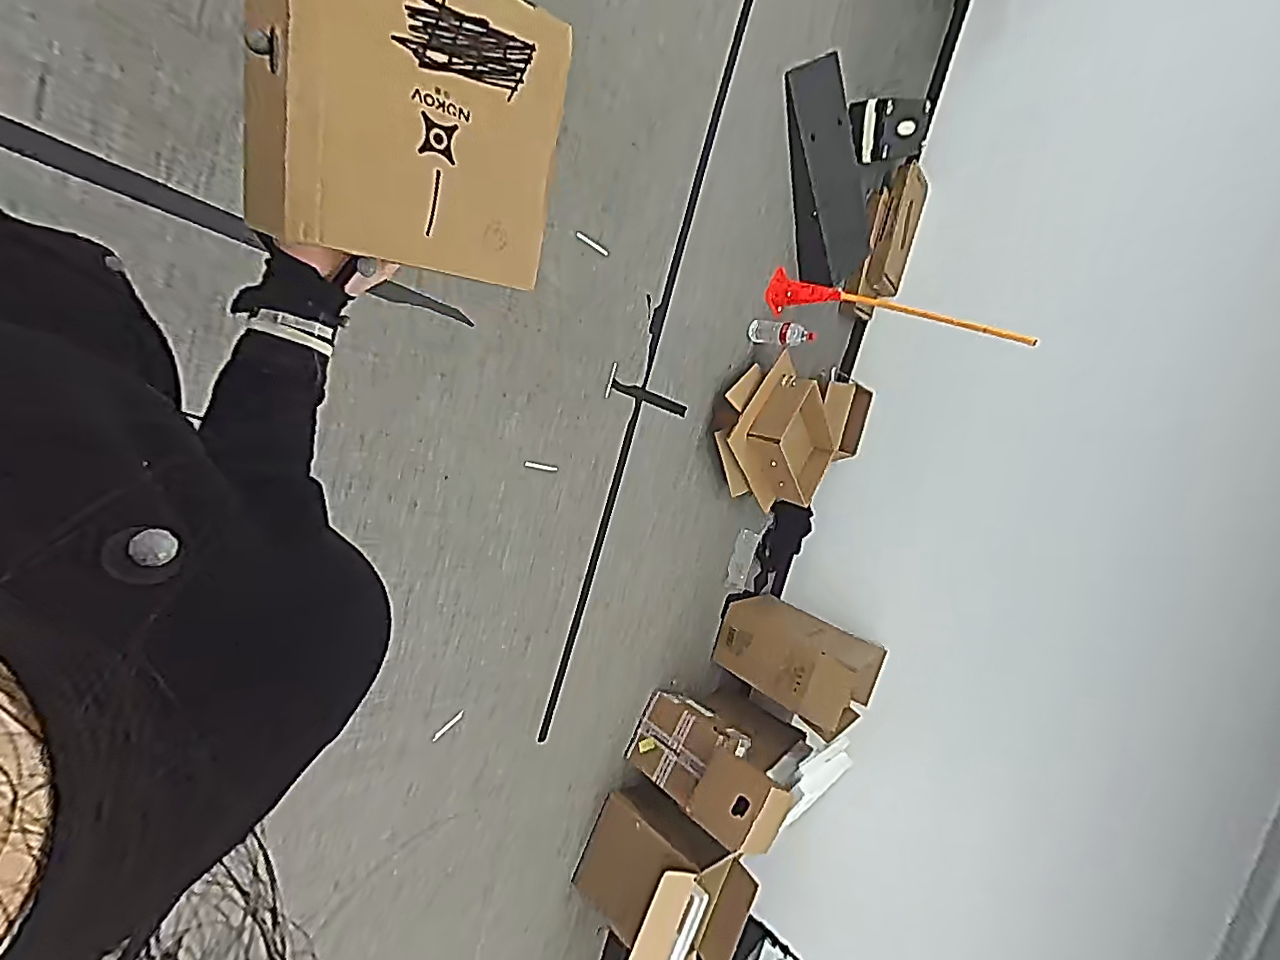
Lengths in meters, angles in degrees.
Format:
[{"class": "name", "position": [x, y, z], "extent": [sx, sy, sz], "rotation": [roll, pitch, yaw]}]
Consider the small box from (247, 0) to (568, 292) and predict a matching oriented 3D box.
[{"class": "small box", "position": [-0.178, -0.253, 0.397], "extent": [0.168, 0.176, 0.179], "rotation": [-3, 114, -42]}]
